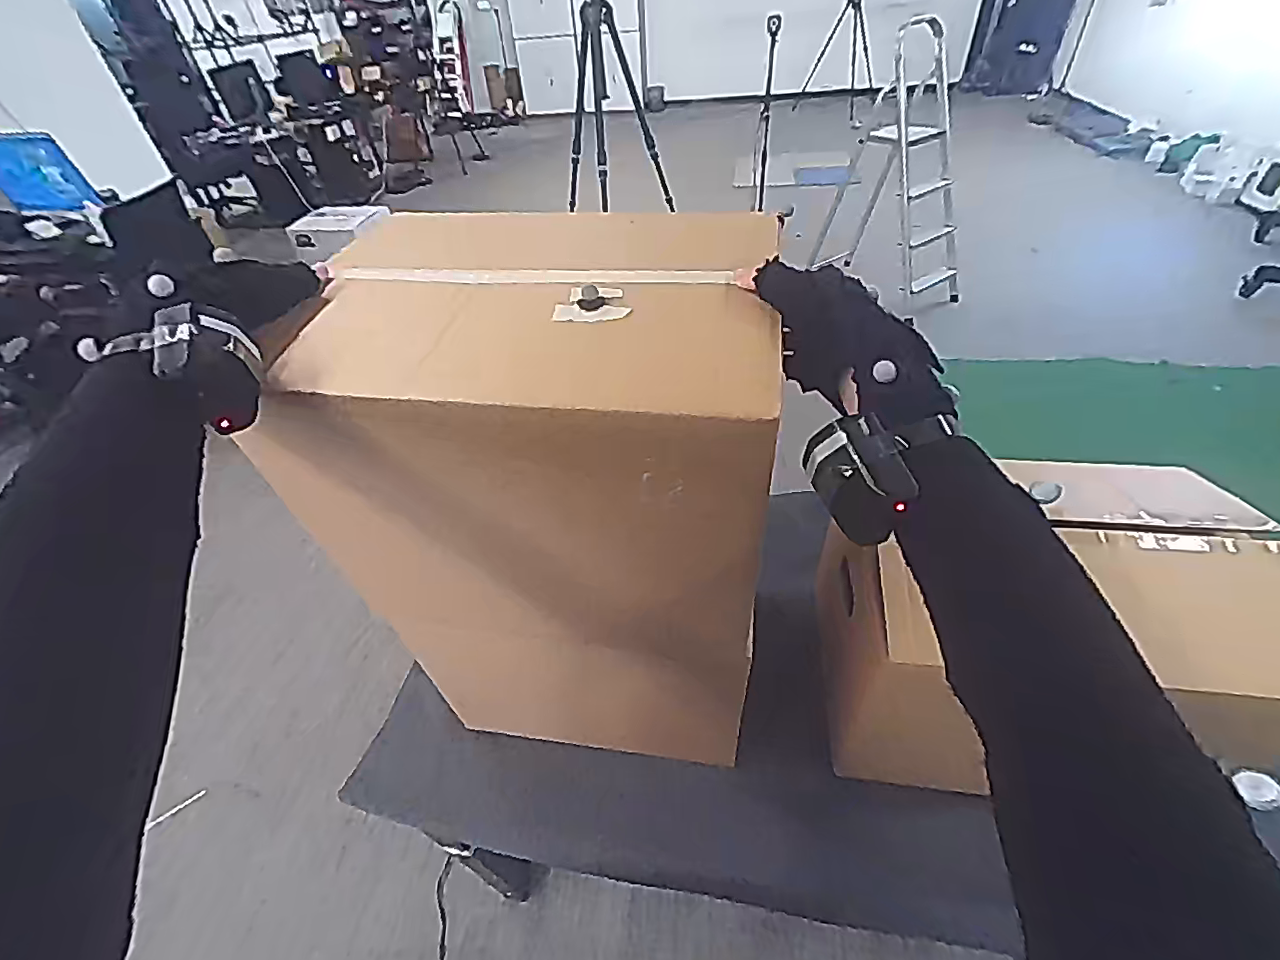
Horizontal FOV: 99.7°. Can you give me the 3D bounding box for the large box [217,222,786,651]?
[{"bbox_3d":[-0.079,-0.051,0.564,0.408,0.320,0.320,5,48,8],"label":"large box"}]
